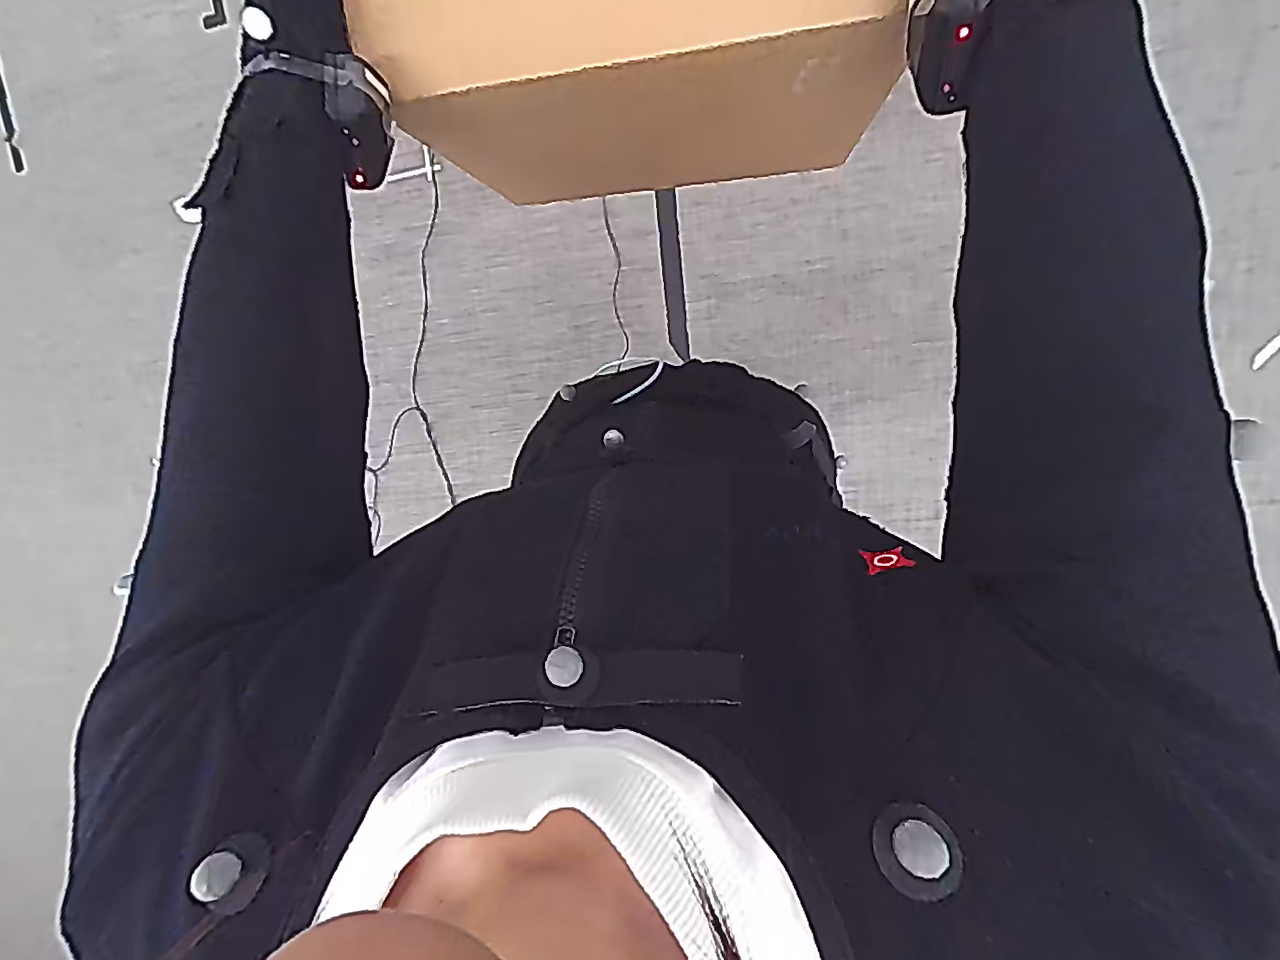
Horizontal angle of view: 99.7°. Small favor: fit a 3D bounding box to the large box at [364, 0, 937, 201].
[{"bbox_3d":[0.007,-0.479,0.484,0.408,0.320,0.320,-3,104,9],"label":"large box"}]
